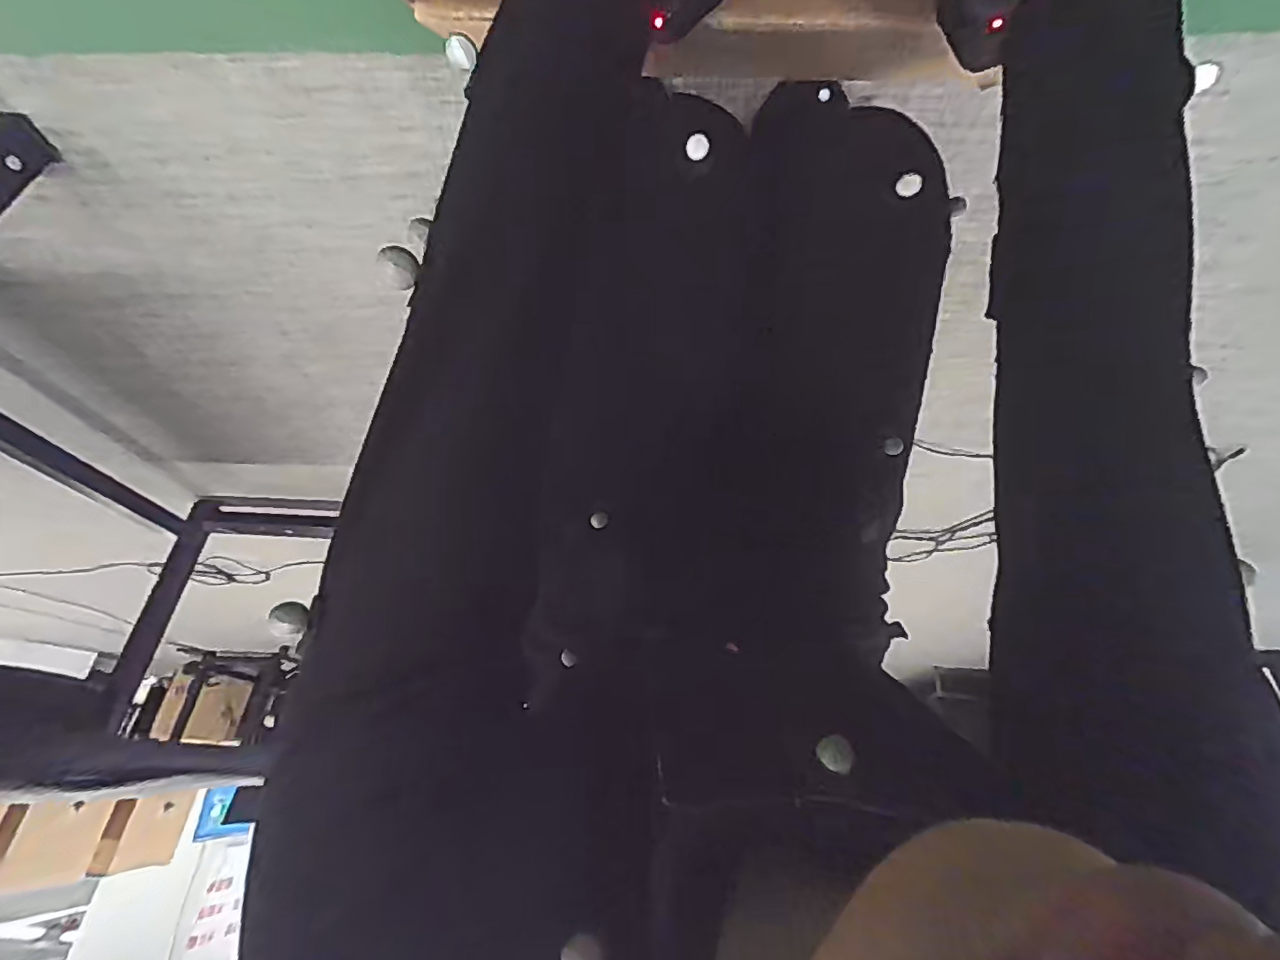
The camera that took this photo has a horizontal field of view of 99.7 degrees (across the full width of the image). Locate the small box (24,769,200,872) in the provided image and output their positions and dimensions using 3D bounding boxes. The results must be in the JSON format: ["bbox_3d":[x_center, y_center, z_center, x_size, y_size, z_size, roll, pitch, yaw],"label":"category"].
[{"bbox_3d":[-1.098,0.711,1.145,0.179,0.176,0.168,2,151,2],"label":"small box"}]
